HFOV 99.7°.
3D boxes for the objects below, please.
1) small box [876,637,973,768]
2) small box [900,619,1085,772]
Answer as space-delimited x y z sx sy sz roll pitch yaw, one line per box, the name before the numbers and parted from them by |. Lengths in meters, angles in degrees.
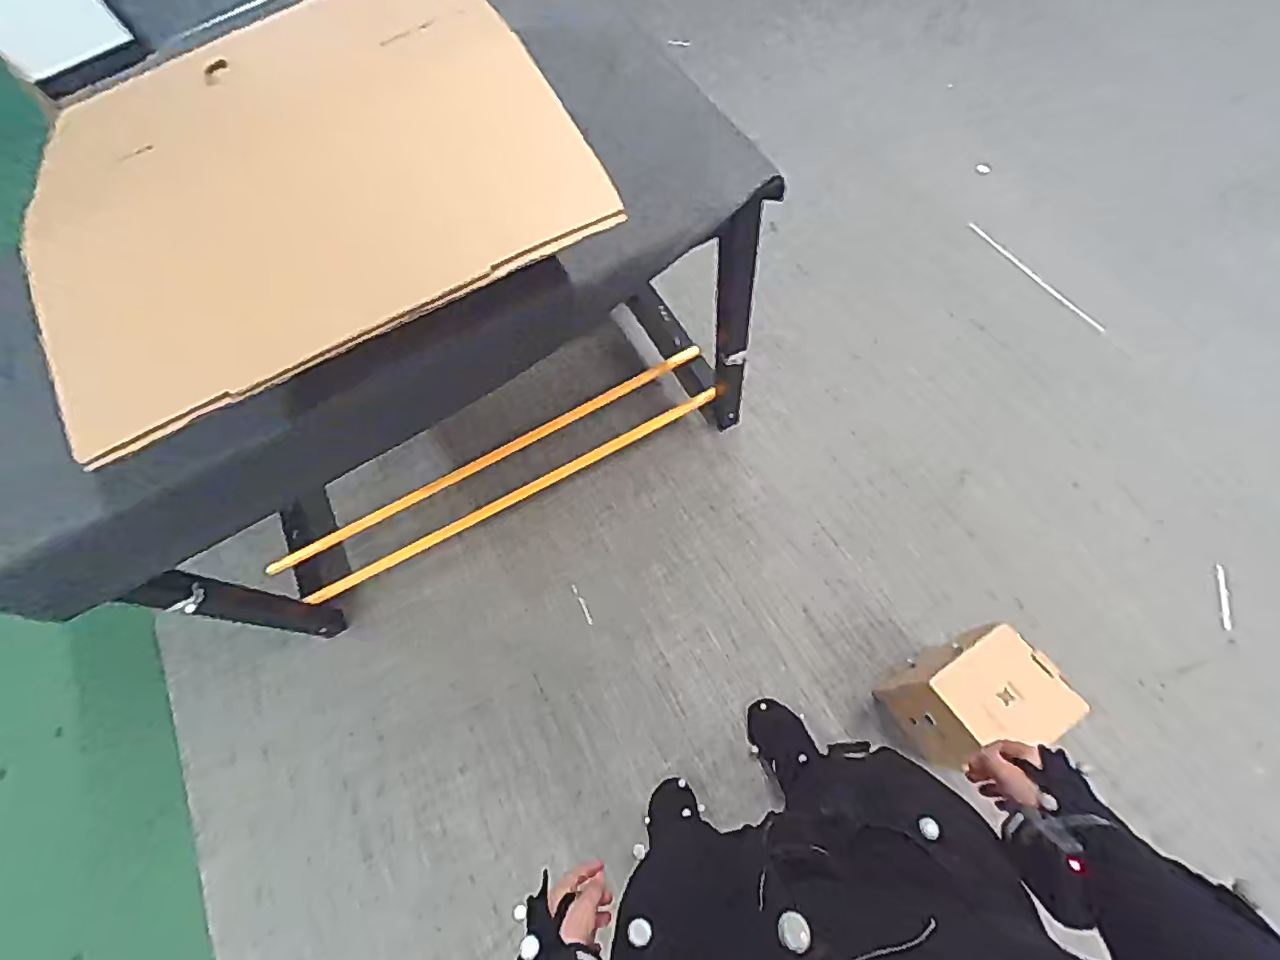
small box | 0.605 0.440 1.075 0.168 0.176 0.179 -34 67 -7
small box | 0.587 0.366 0.930 0.179 0.176 0.168 -35 67 -7
